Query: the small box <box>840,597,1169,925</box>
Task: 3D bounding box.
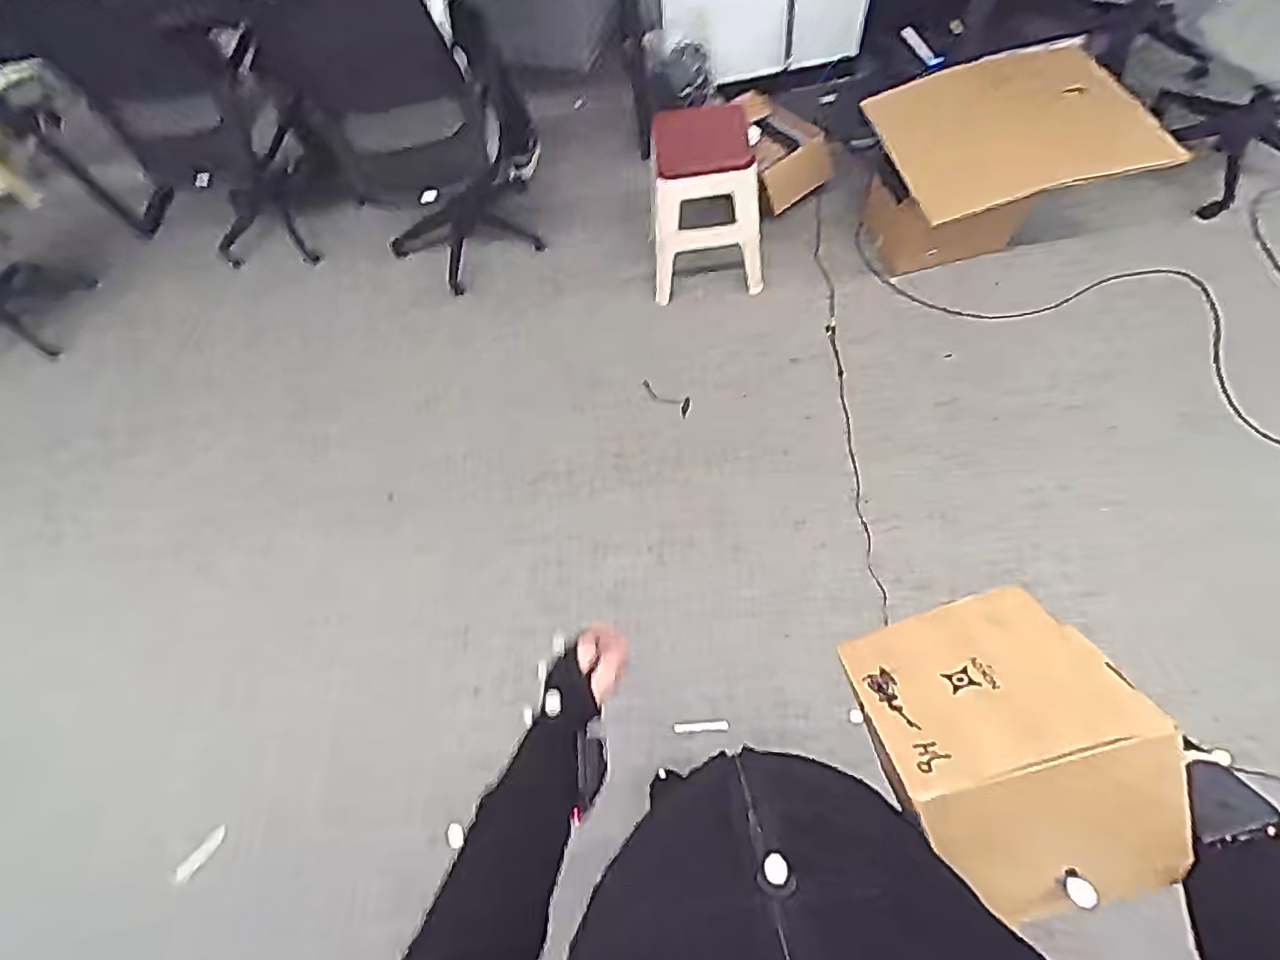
[{"bbox_3d":[0.308,0.240,0.478,0.179,0.176,0.168,-23,19,9],"label":"small box"}]
